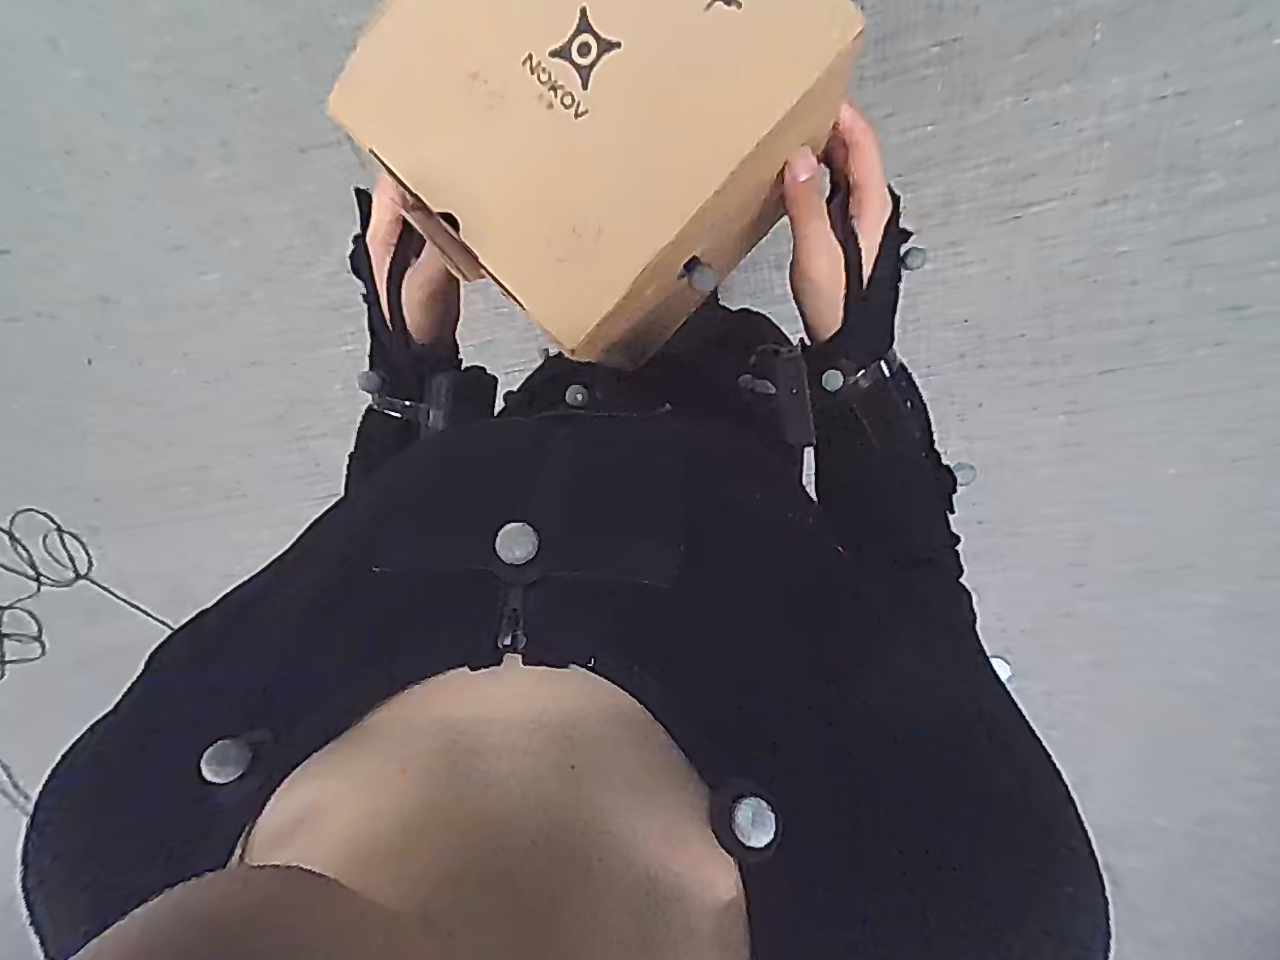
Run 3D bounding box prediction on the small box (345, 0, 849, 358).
[{"bbox_3d":[-0.013,-0.187,0.314,0.168,0.176,0.179,46,104,0],"label":"small box"}]
